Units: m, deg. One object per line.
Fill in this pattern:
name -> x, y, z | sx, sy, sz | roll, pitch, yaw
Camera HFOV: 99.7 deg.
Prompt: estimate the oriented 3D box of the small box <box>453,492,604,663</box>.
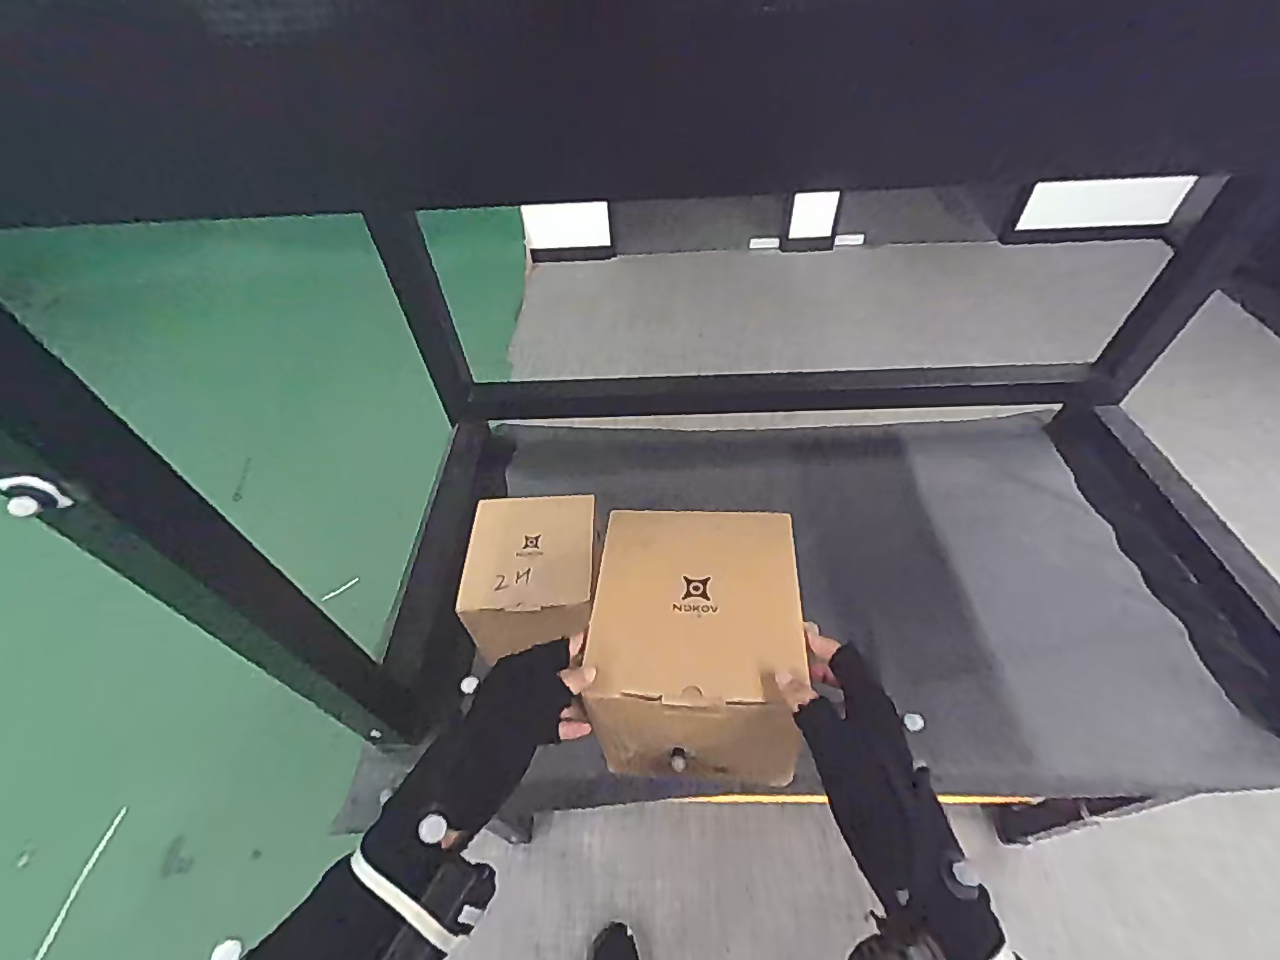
small box -> -0.142, 0.138, 0.763 | 0.168, 0.176, 0.179 | -3, 49, 1
